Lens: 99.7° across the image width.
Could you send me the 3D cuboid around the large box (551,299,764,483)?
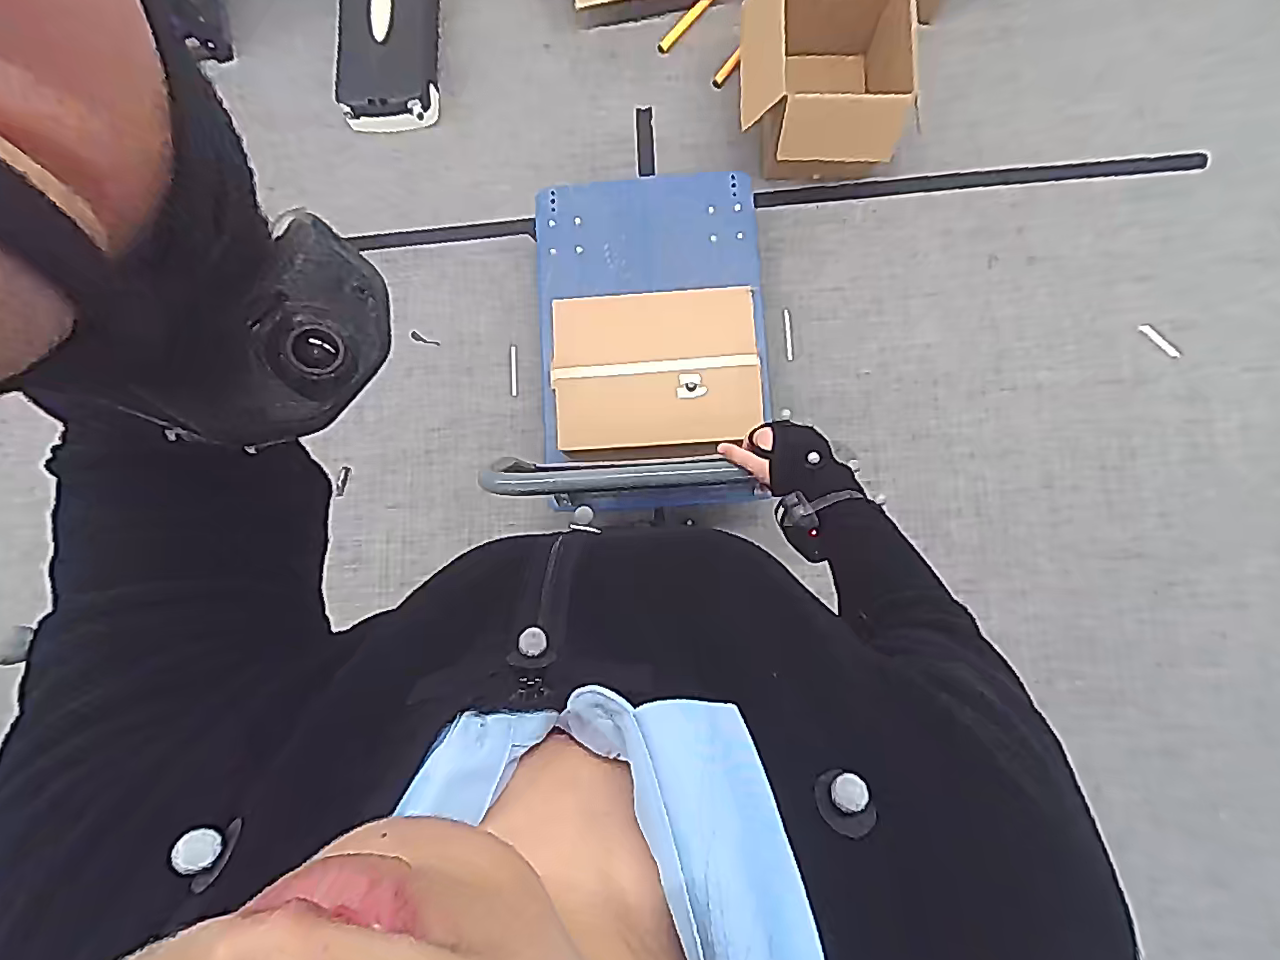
[{"bbox_3d":[0.032,-0.176,1.205,0.408,0.320,0.320,-4,83,1],"label":"large box"}]
